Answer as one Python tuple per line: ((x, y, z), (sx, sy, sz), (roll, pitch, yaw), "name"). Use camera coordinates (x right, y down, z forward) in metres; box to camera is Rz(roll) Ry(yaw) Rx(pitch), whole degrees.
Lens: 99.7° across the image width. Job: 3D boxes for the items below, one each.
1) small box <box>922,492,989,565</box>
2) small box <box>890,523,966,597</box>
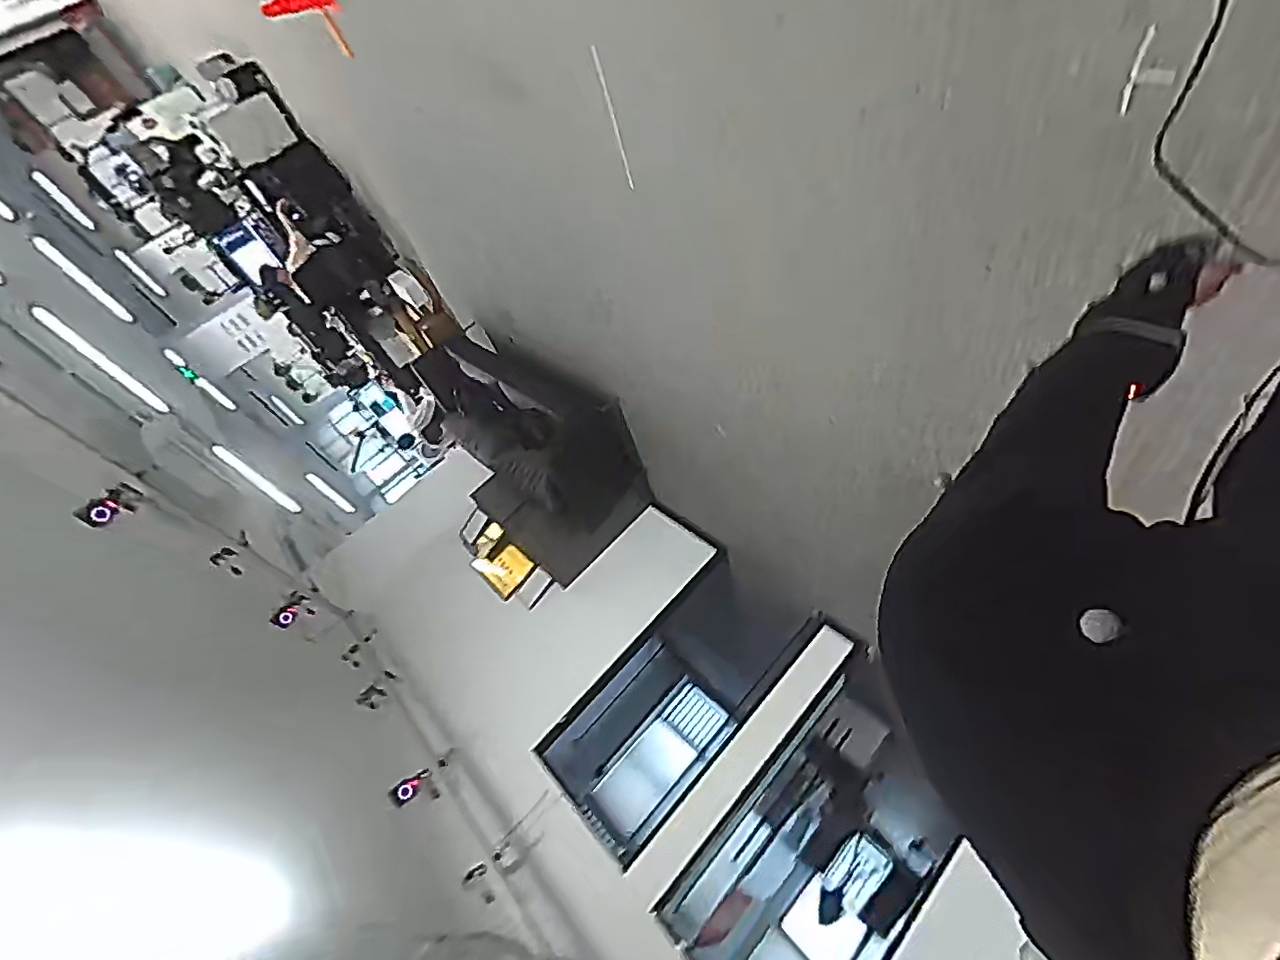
((1.160, 0.176, 2.008), (0.168, 0.176, 0.179), (35, 158, 34), "small box")
((1.047, 0.289, 1.966), (0.168, 0.176, 0.179), (36, 159, 29), "small box")
